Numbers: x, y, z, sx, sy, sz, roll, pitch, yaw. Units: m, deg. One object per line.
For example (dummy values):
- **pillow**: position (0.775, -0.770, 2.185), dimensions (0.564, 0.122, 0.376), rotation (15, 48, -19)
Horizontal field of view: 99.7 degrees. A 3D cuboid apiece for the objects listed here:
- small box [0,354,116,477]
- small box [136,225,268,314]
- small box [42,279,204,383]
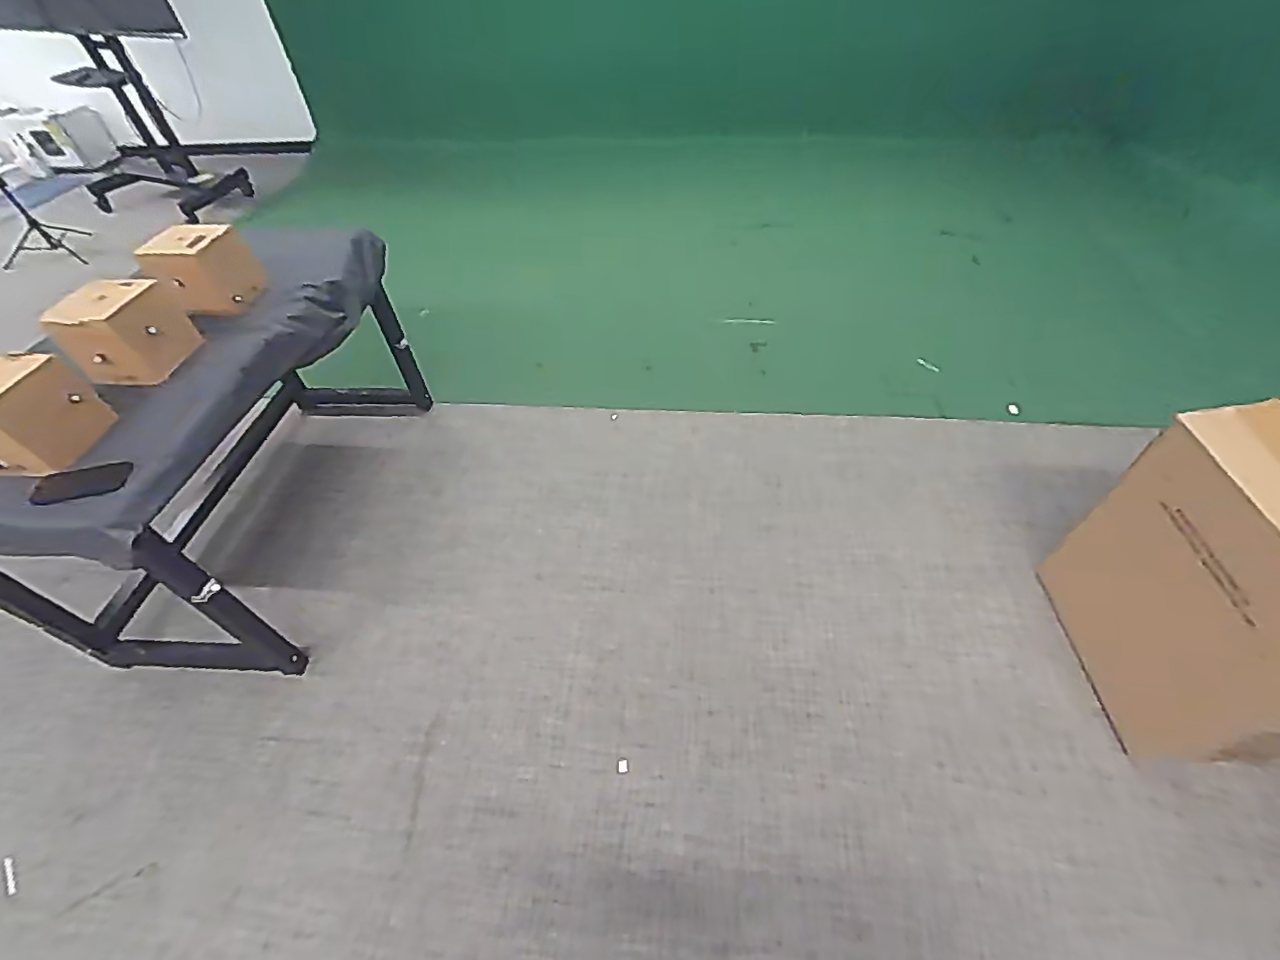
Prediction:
- **small box**: position (-1.196, -0.126, 1.053), dimensions (0.168, 0.176, 0.179), rotation (-1, 49, 4)
- **small box**: position (-1.139, -0.552, 1.427), dimensions (0.179, 0.176, 0.168), rotation (2, 48, 6)
- **small box**: position (-1.165, -0.338, 1.239), dimensions (0.168, 0.176, 0.179), rotation (1, 49, 4)
